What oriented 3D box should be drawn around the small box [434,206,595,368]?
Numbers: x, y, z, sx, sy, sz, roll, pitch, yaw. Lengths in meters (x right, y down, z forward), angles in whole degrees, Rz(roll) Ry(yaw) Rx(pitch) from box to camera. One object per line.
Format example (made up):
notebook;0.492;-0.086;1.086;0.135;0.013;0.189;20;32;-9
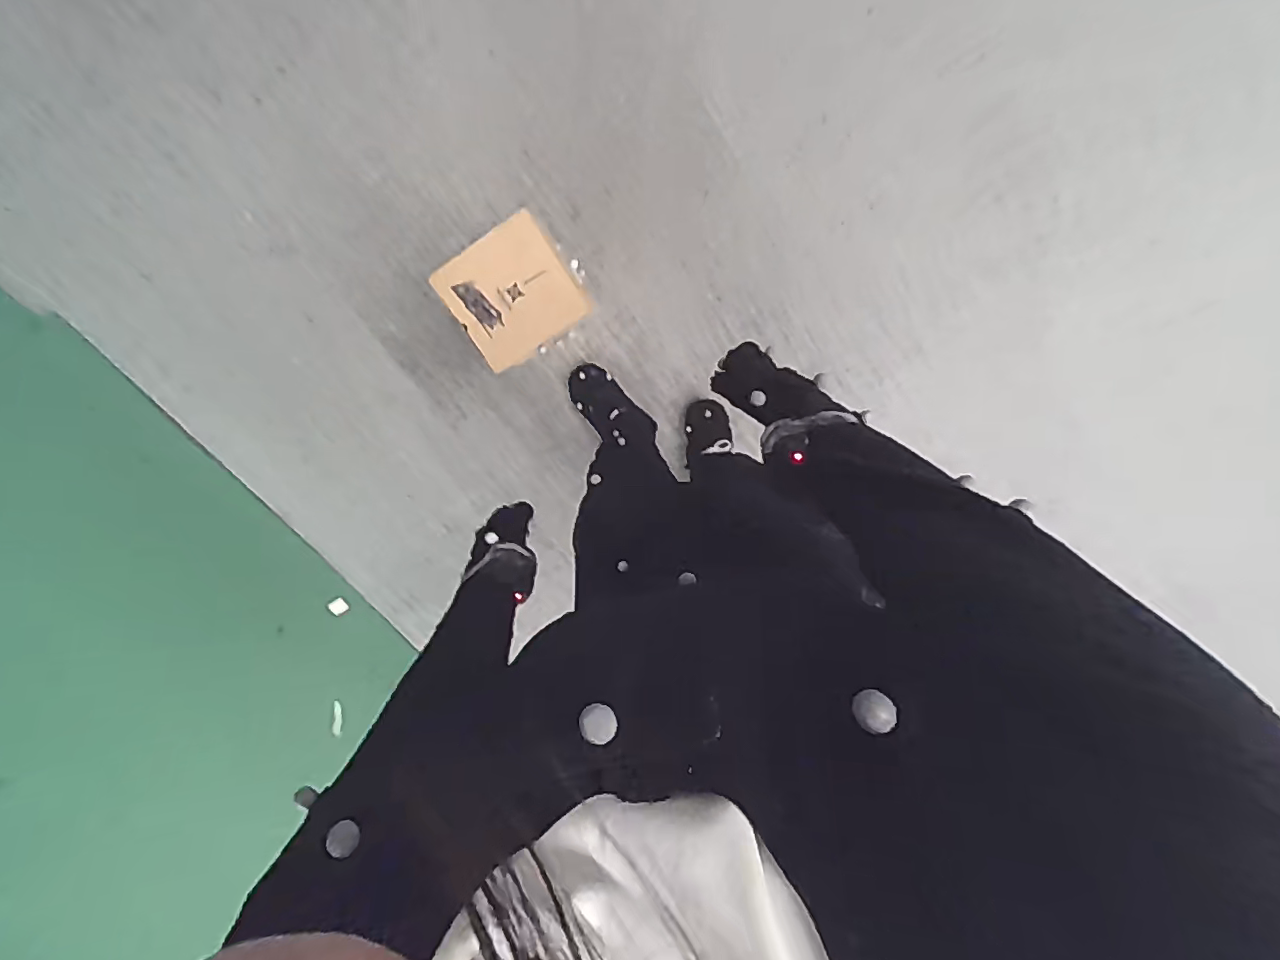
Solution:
small box;-0.186;-0.302;0.865;0.179;0.176;0.168;-32;107;9
